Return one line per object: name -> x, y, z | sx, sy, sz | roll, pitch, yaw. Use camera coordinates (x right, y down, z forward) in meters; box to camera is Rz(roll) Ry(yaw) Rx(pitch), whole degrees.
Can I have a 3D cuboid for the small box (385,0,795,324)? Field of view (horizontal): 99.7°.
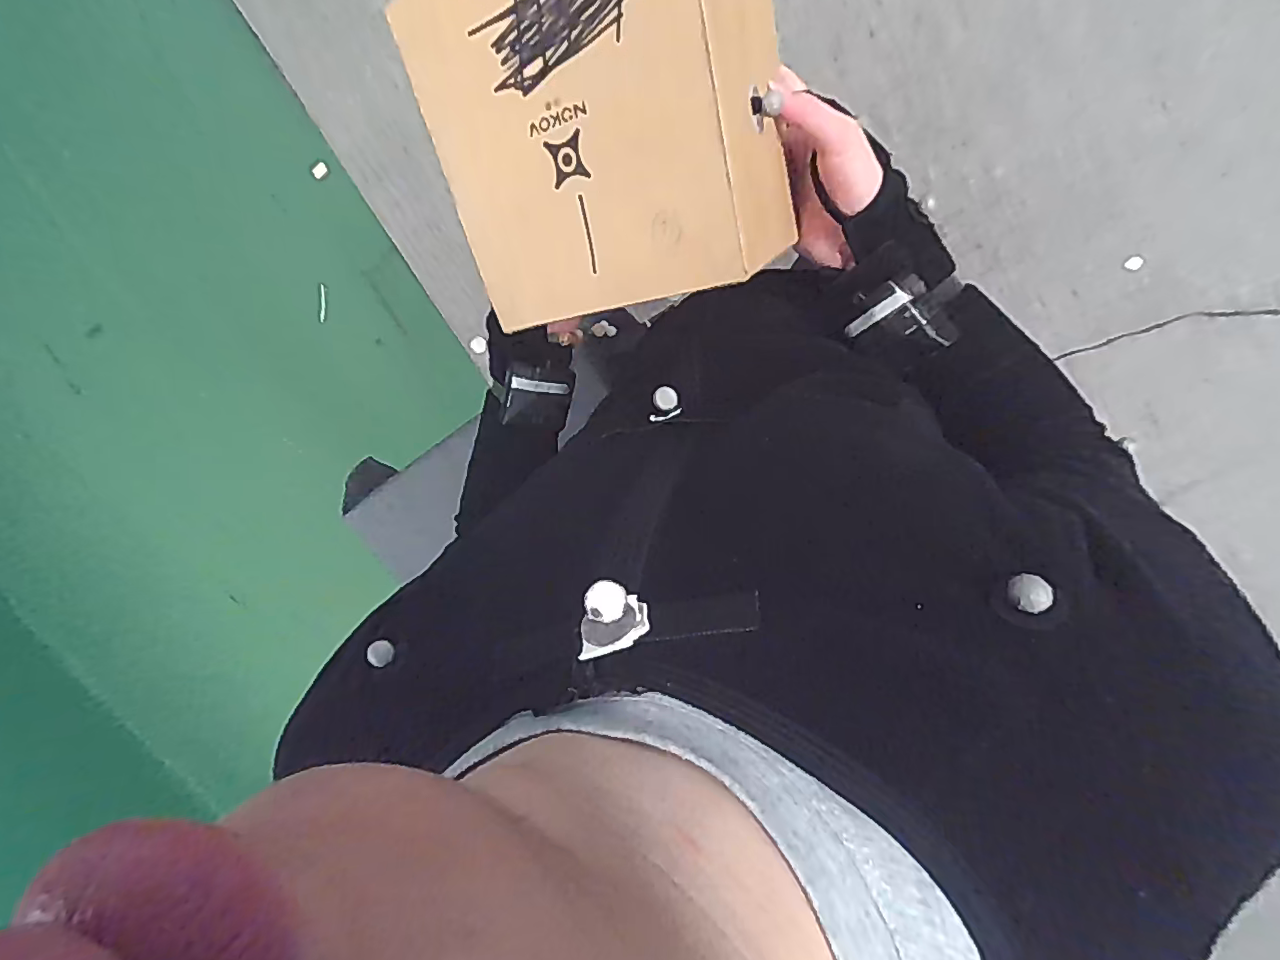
small box -> -0.008, -0.216, 0.338 | 0.168, 0.176, 0.179 | -2, 119, 29
